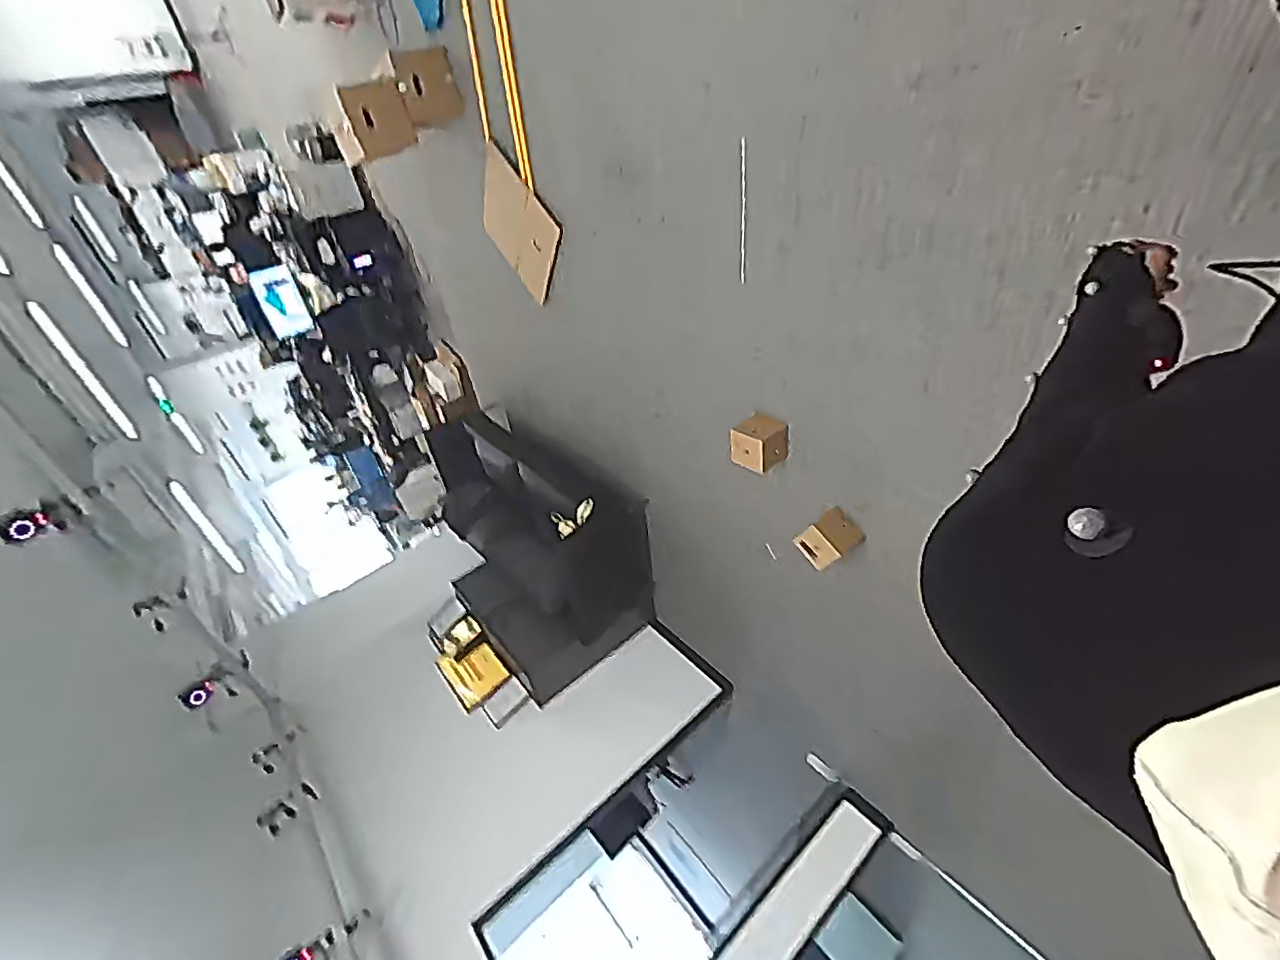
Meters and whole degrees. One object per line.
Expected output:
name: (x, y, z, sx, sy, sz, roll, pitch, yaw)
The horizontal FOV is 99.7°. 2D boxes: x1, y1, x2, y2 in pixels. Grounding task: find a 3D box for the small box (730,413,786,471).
small box: (0.506, -0.171, 2.316, 0.179, 0.176, 0.168, 30, 139, 43)
